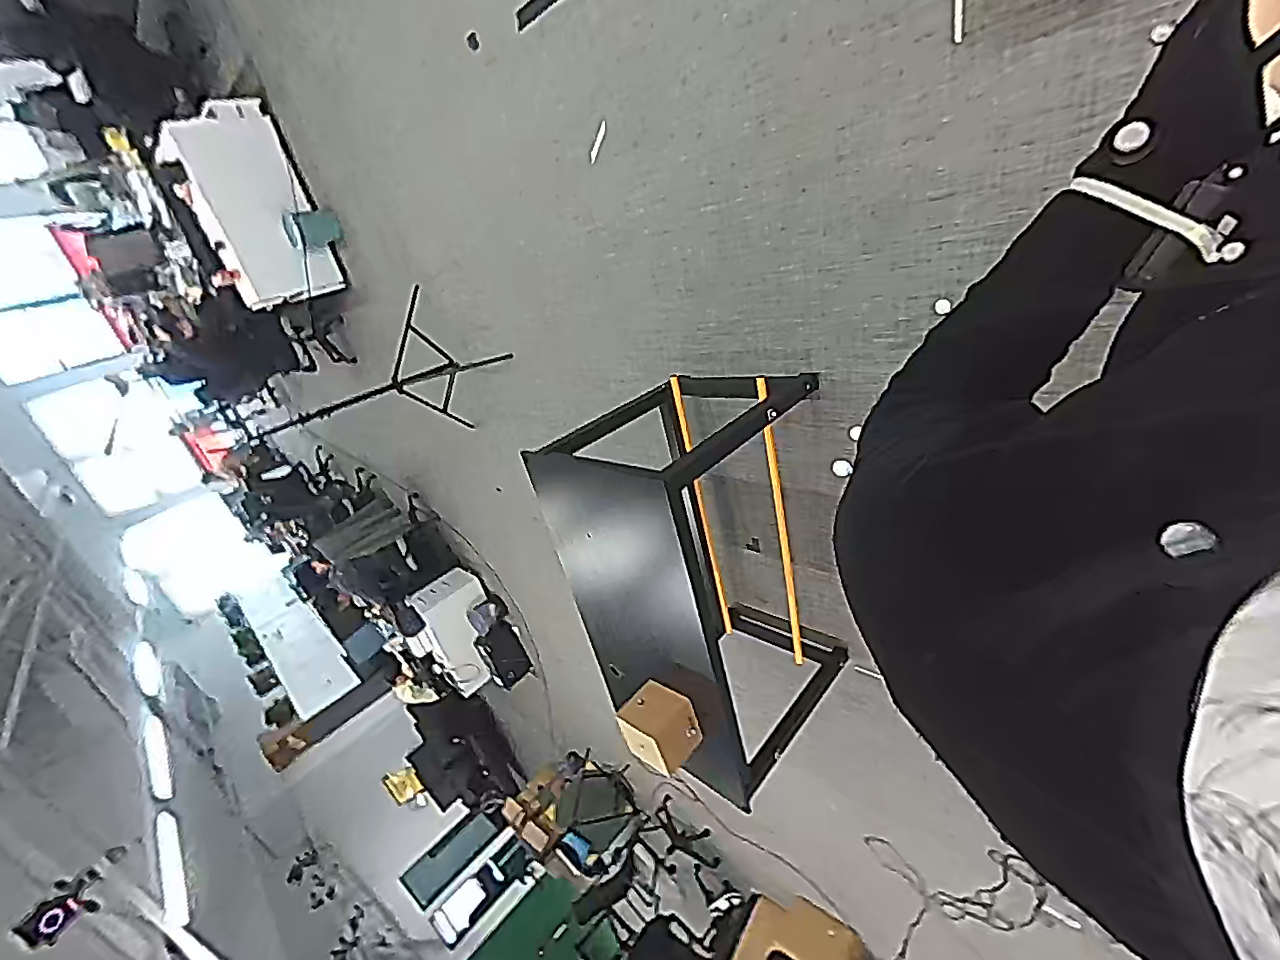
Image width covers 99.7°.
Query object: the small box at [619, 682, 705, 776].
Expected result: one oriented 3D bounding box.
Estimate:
[{"bbox_3d":[0.070,0.753,1.659,0.179,0.176,0.168,5,122,47],"label":"small box"}]
